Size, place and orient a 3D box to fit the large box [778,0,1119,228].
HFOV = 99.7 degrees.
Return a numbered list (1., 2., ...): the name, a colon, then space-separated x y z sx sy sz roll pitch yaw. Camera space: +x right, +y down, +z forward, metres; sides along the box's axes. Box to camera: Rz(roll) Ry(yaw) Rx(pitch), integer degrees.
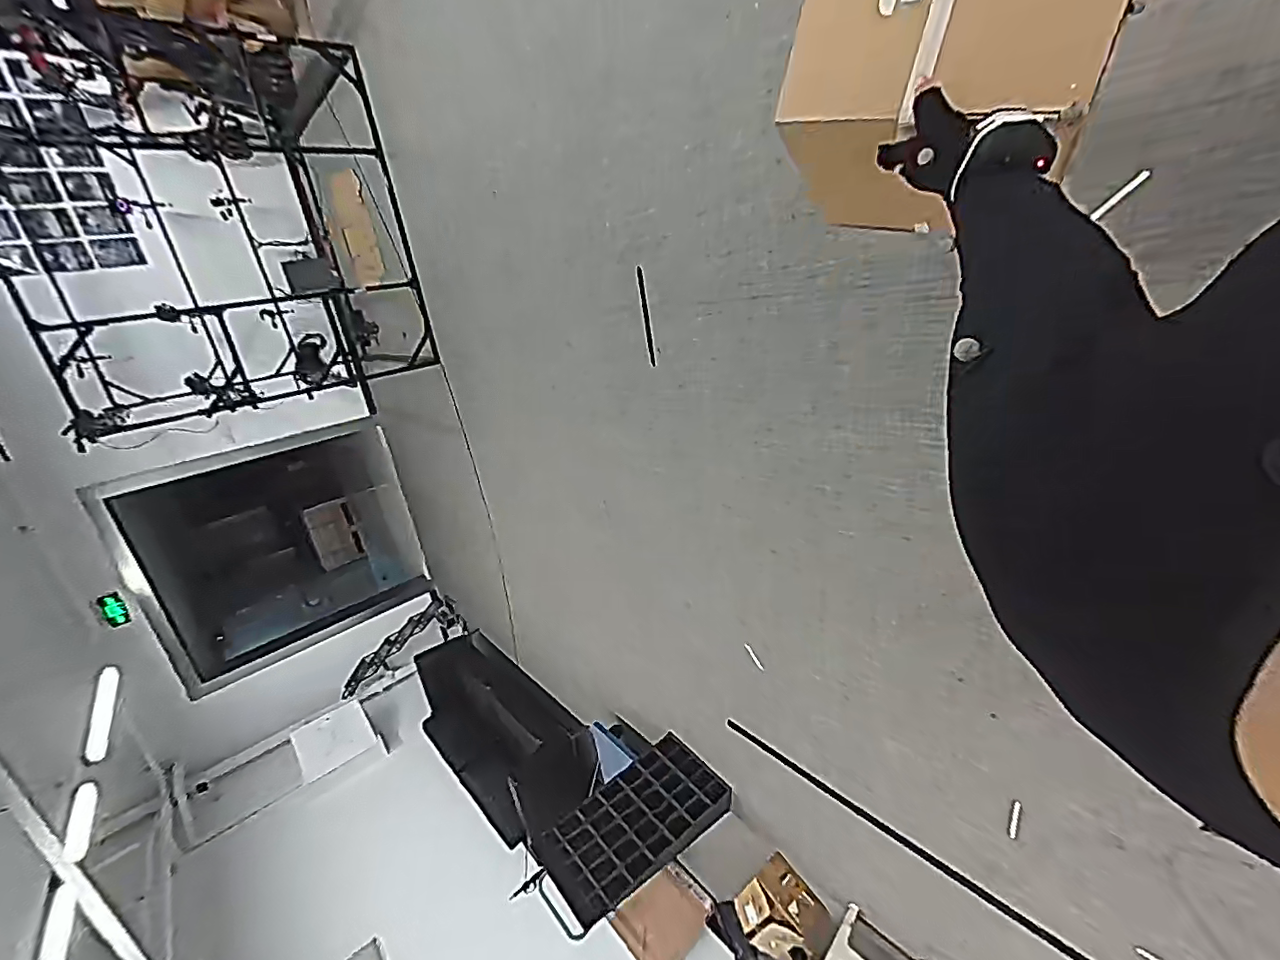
1. large box: 0.411 -0.590 0.690 0.320 0.320 0.408 19 102 29
